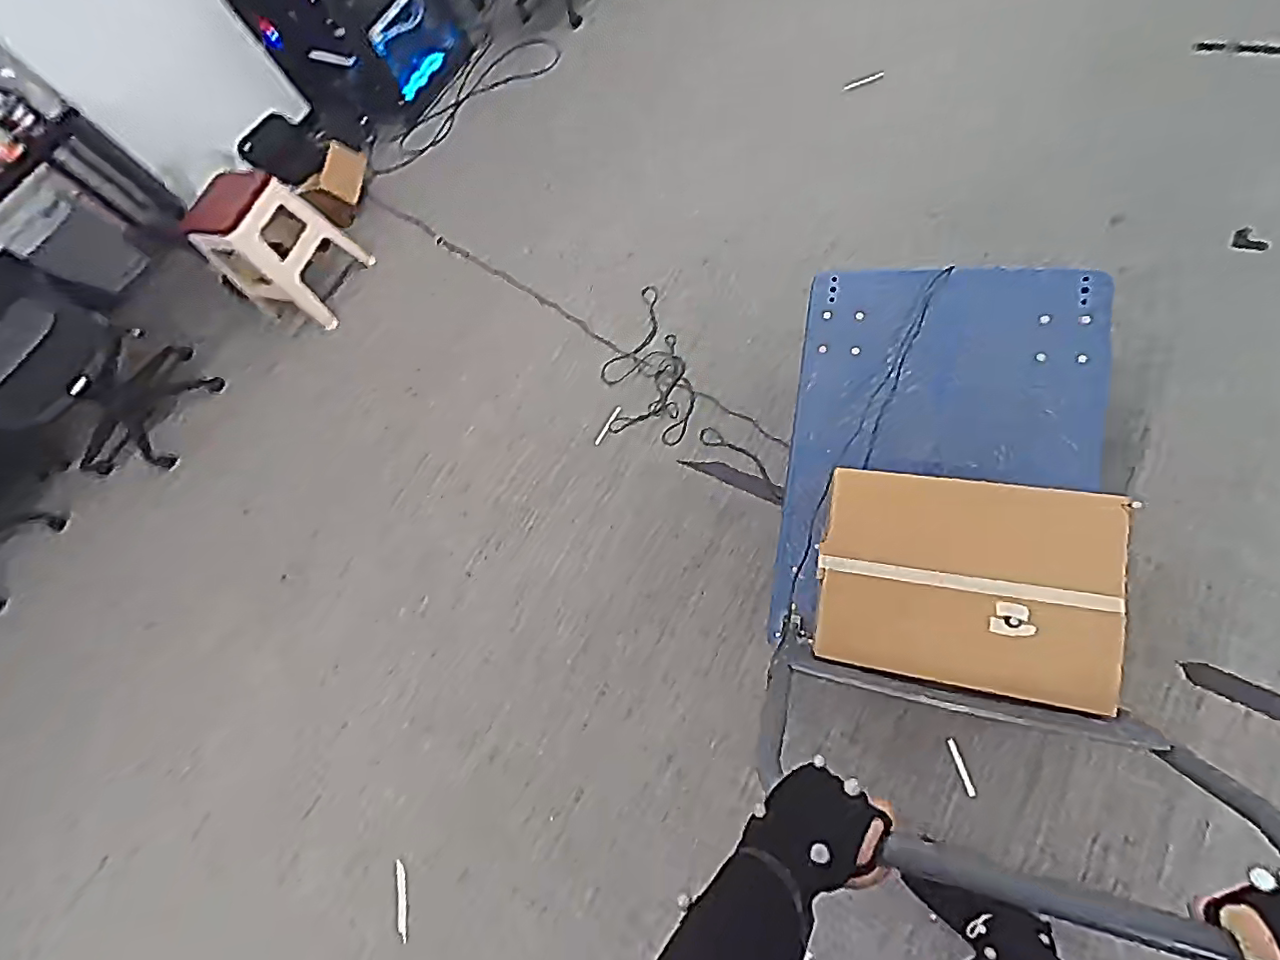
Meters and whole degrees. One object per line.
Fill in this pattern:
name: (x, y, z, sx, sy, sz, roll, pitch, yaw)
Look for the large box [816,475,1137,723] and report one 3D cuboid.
large box: (0.533, 0.182, 0.947, 0.408, 0.320, 0.320, 7, 85, 18)
